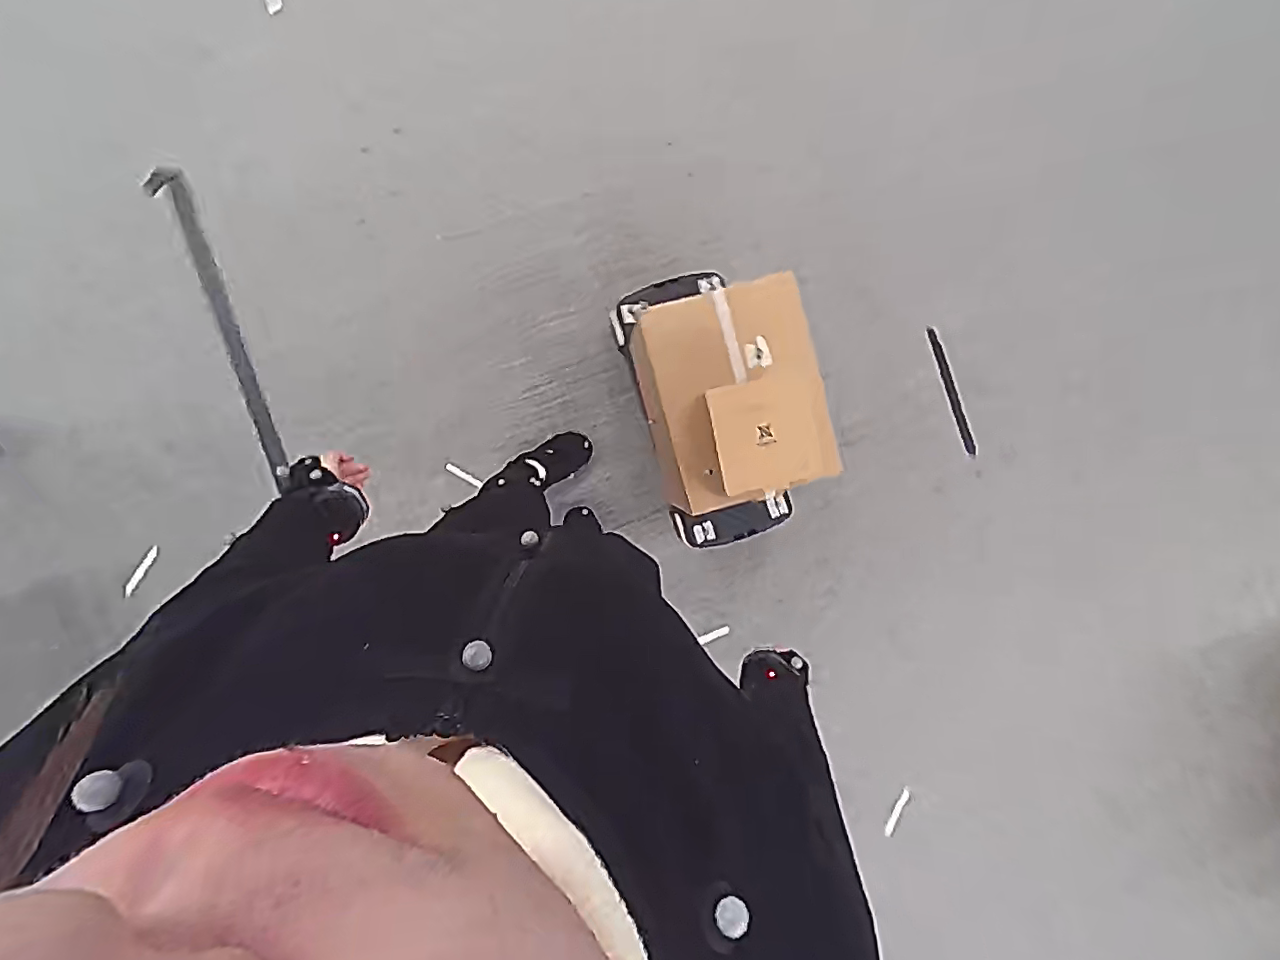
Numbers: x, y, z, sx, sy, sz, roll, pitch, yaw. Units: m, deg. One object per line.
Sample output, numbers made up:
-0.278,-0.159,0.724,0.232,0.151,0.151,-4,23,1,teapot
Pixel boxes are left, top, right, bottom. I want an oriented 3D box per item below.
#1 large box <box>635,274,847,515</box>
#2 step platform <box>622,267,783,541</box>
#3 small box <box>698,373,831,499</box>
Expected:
0.191,-0.164,1.169,0.320,0.320,0.408,-15,92,-4,large box
0.157,-0.187,1.405,0.286,0.204,0.684,-13,92,-4,step platform
0.203,-0.072,0.926,0.168,0.176,0.179,-11,92,-3,small box
